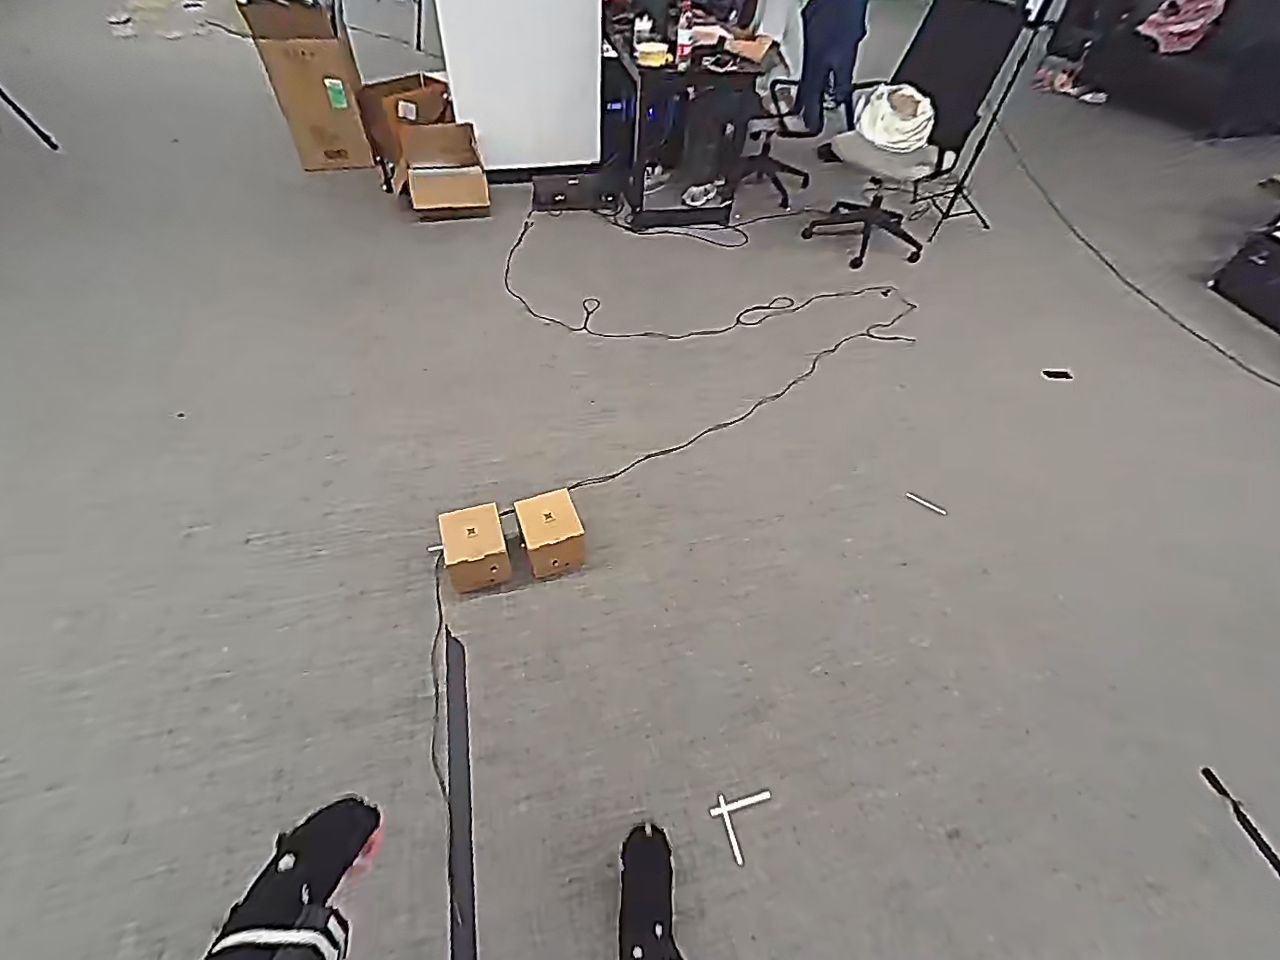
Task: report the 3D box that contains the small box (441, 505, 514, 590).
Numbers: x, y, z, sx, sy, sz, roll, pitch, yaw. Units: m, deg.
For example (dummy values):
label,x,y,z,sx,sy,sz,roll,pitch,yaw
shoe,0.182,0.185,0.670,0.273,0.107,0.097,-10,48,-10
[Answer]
label,x,y,z,sx,sy,sz,roll,pitch,yaw
small box,-0.474,0.204,1.587,0.168,0.176,0.179,-12,52,-14

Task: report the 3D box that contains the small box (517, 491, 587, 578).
label,x,y,z,sx,sy,sz,roll,pitch,yaw
small box,-0.265,0.166,1.633,0.168,0.176,0.179,-16,55,-16
